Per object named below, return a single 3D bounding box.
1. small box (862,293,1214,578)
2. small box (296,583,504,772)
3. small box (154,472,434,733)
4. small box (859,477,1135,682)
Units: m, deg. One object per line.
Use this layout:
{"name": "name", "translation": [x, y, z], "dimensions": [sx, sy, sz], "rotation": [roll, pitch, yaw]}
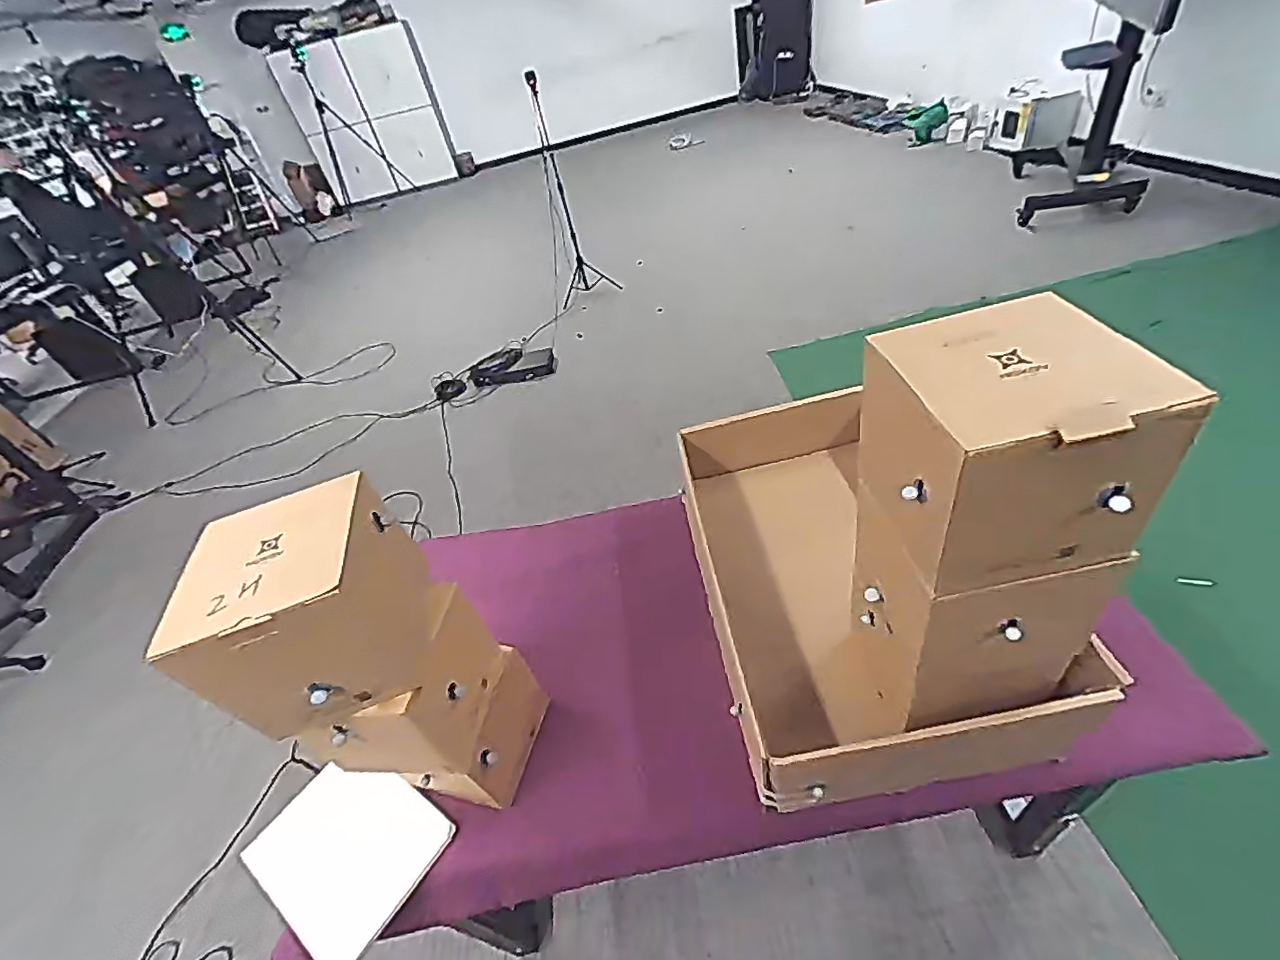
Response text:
{"name": "small box", "translation": [0.309, -0.032, 0.473], "dimensions": [0.168, 0.176, 0.179], "rotation": [-13, 40, 5]}
{"name": "small box", "translation": [-0.293, 0.246, 0.673], "dimensions": [0.179, 0.176, 0.168], "rotation": [-5, 42, 12]}
{"name": "small box", "translation": [-0.332, 0.127, 0.567], "dimensions": [0.168, 0.176, 0.179], "rotation": [-20, 41, -4]}
{"name": "small box", "translation": [0.348, 0.089, 0.574], "dimensions": [0.179, 0.176, 0.168], "rotation": [-14, 41, 6]}
